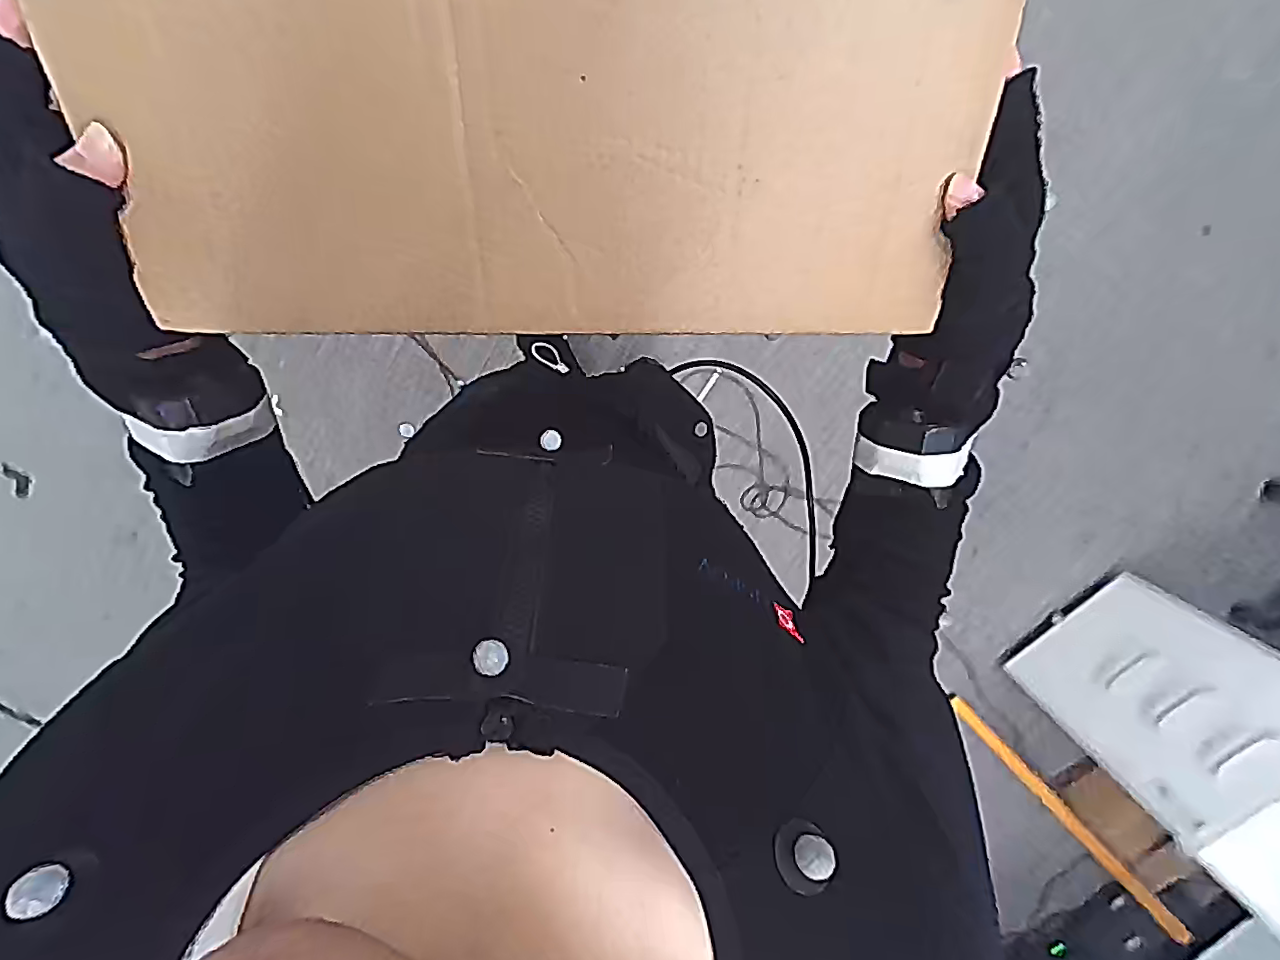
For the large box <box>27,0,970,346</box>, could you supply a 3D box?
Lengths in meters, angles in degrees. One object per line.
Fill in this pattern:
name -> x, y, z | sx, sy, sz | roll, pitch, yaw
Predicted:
large box -> -0.058, -0.287, 0.352 | 0.408, 0.320, 0.320 | -2, 118, -2
